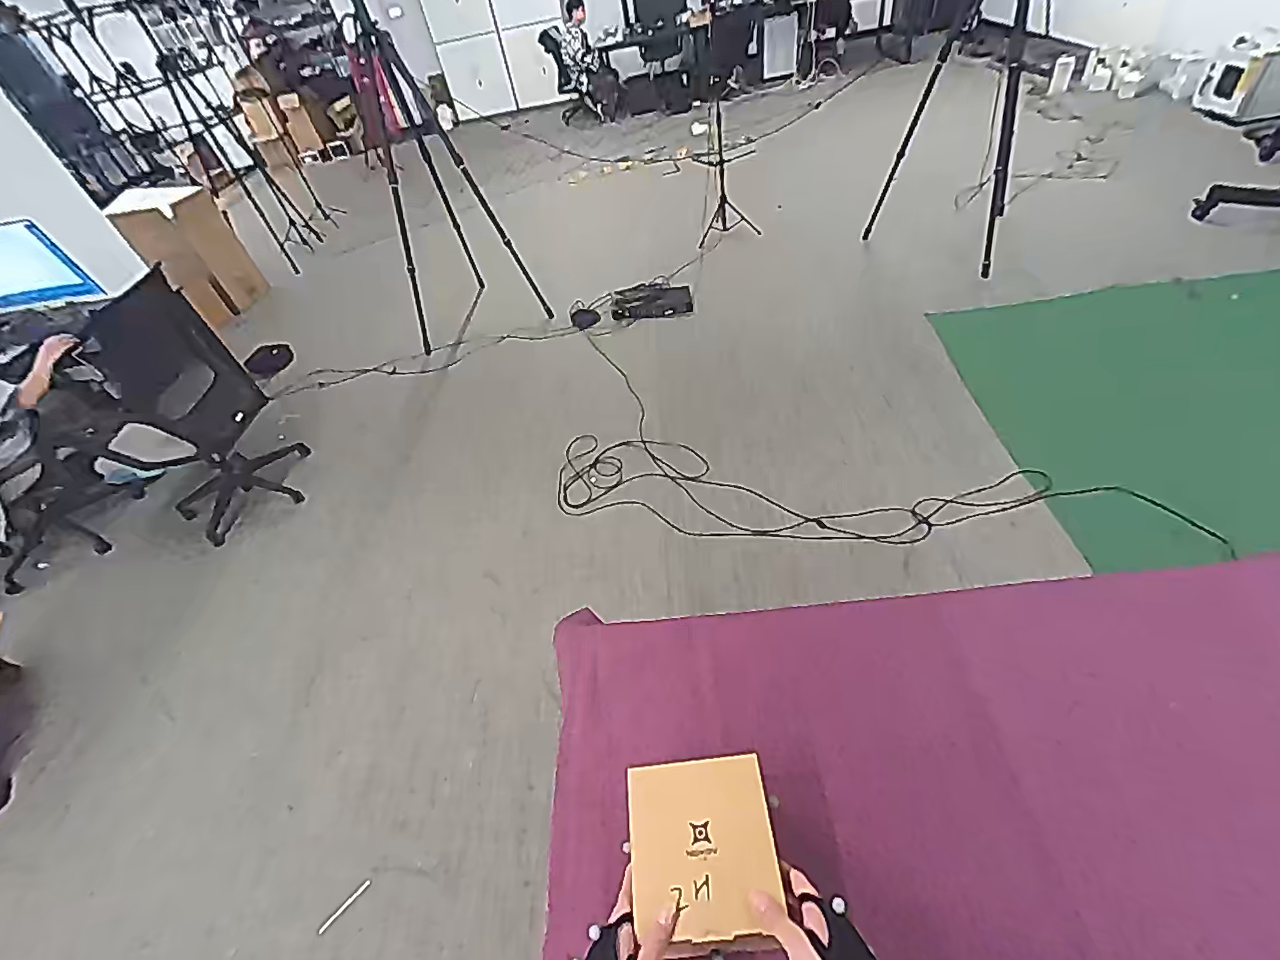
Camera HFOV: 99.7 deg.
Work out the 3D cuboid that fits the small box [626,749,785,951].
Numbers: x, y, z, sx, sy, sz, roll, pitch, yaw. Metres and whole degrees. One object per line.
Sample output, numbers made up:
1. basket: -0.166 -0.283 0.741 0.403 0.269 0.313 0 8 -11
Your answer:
1. small box: 0.077 0.463 0.676 0.168 0.176 0.179 -9 45 5
